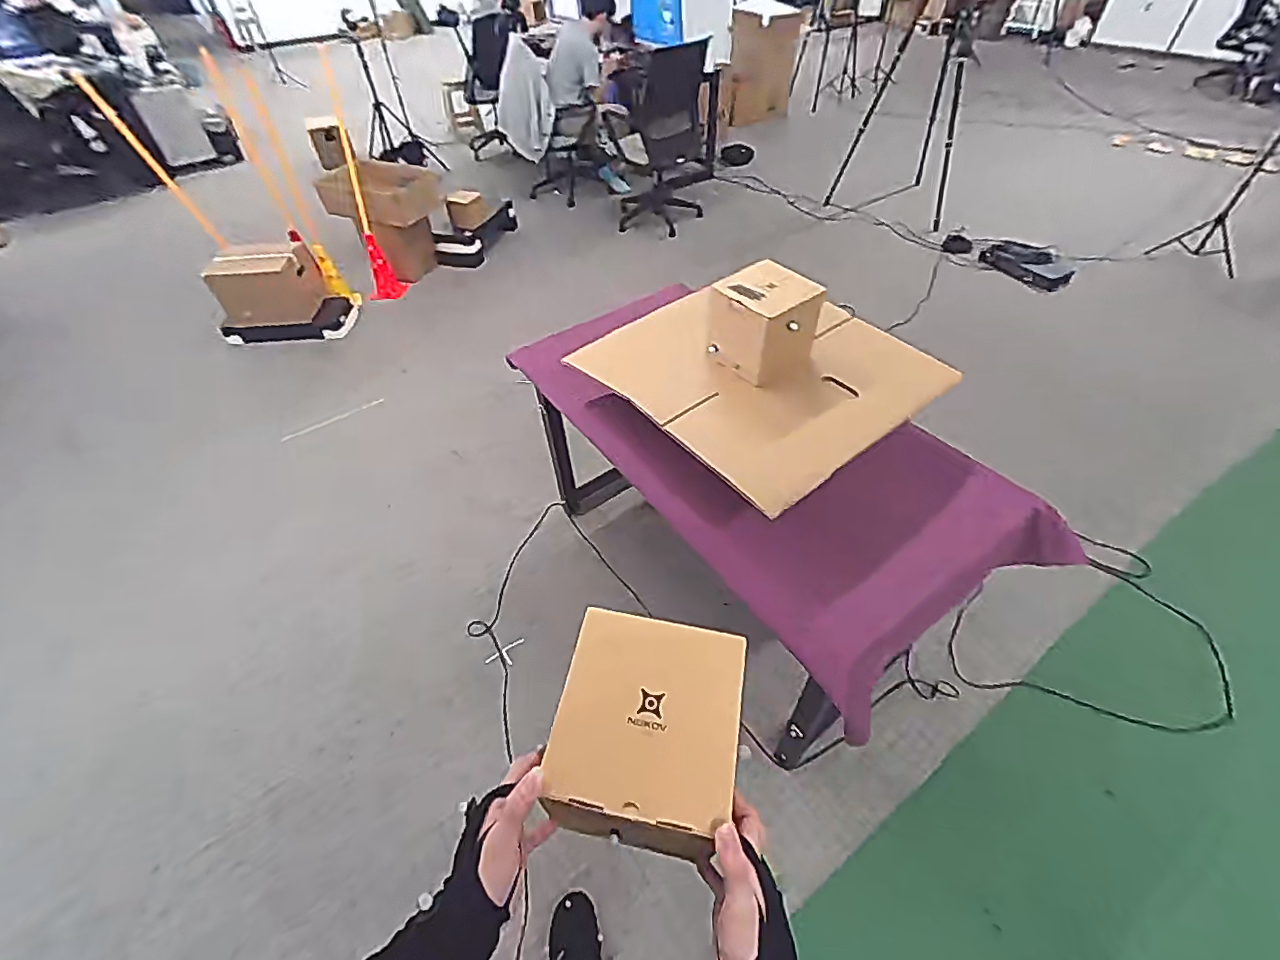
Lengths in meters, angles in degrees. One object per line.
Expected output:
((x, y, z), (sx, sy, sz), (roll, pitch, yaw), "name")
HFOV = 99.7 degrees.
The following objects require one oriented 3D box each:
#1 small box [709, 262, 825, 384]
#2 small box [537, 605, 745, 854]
((0.262, -0.335, 1.160), (0.179, 0.176, 0.168), (-31, 55, -24), "small box")
((0.006, 0.256, 0.554), (0.168, 0.176, 0.179), (9, 51, 6), "small box")
